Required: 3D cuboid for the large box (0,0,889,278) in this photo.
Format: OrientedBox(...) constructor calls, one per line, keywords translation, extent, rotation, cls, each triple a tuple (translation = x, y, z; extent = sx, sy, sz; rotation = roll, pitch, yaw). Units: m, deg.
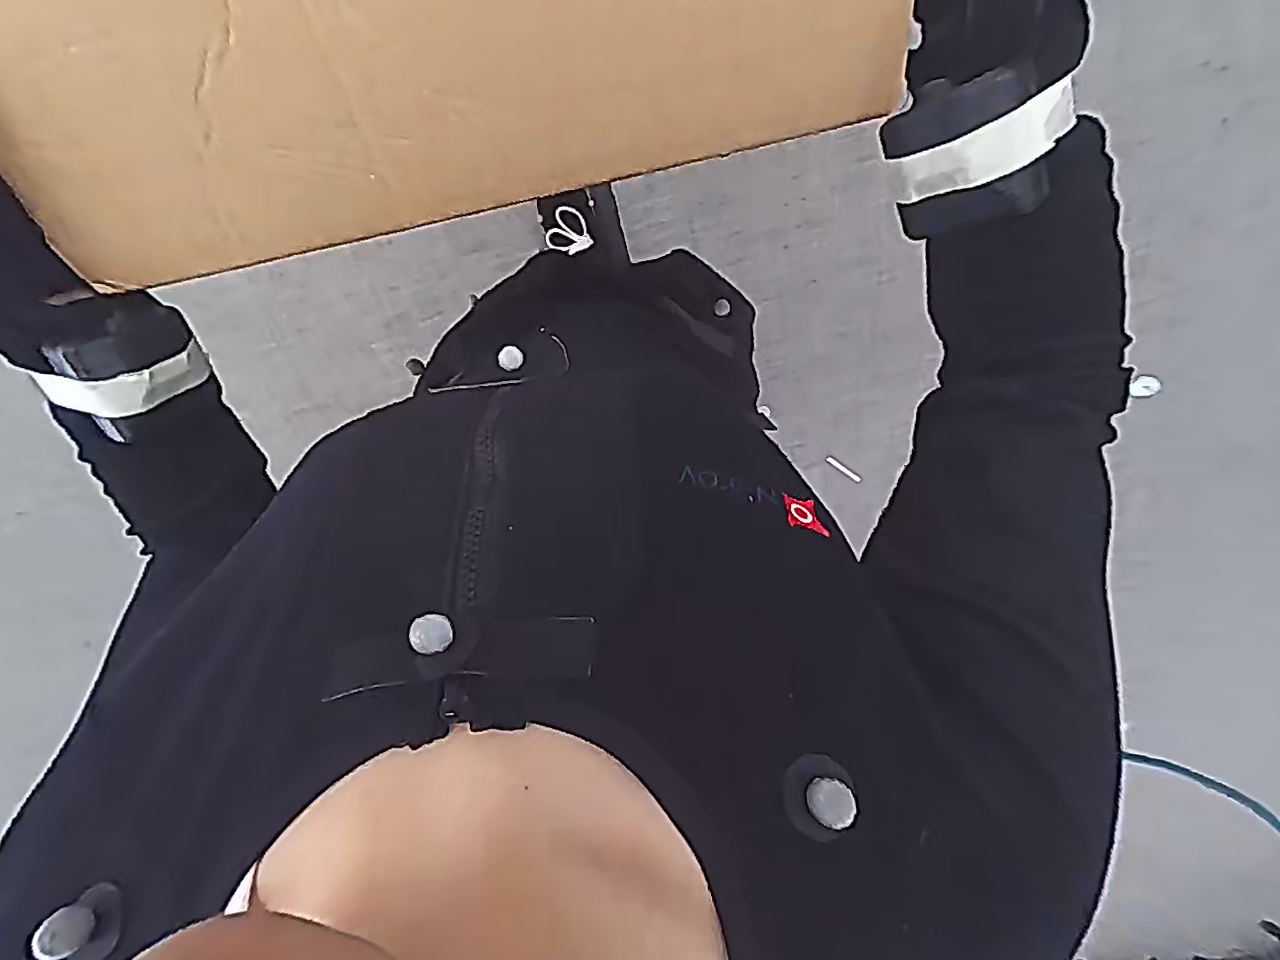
OrientedBox(translation=(-0.120, -0.354, 0.266), extent=(0.408, 0.320, 0.320), rotation=(-11, 135, 4), cls="large box")
